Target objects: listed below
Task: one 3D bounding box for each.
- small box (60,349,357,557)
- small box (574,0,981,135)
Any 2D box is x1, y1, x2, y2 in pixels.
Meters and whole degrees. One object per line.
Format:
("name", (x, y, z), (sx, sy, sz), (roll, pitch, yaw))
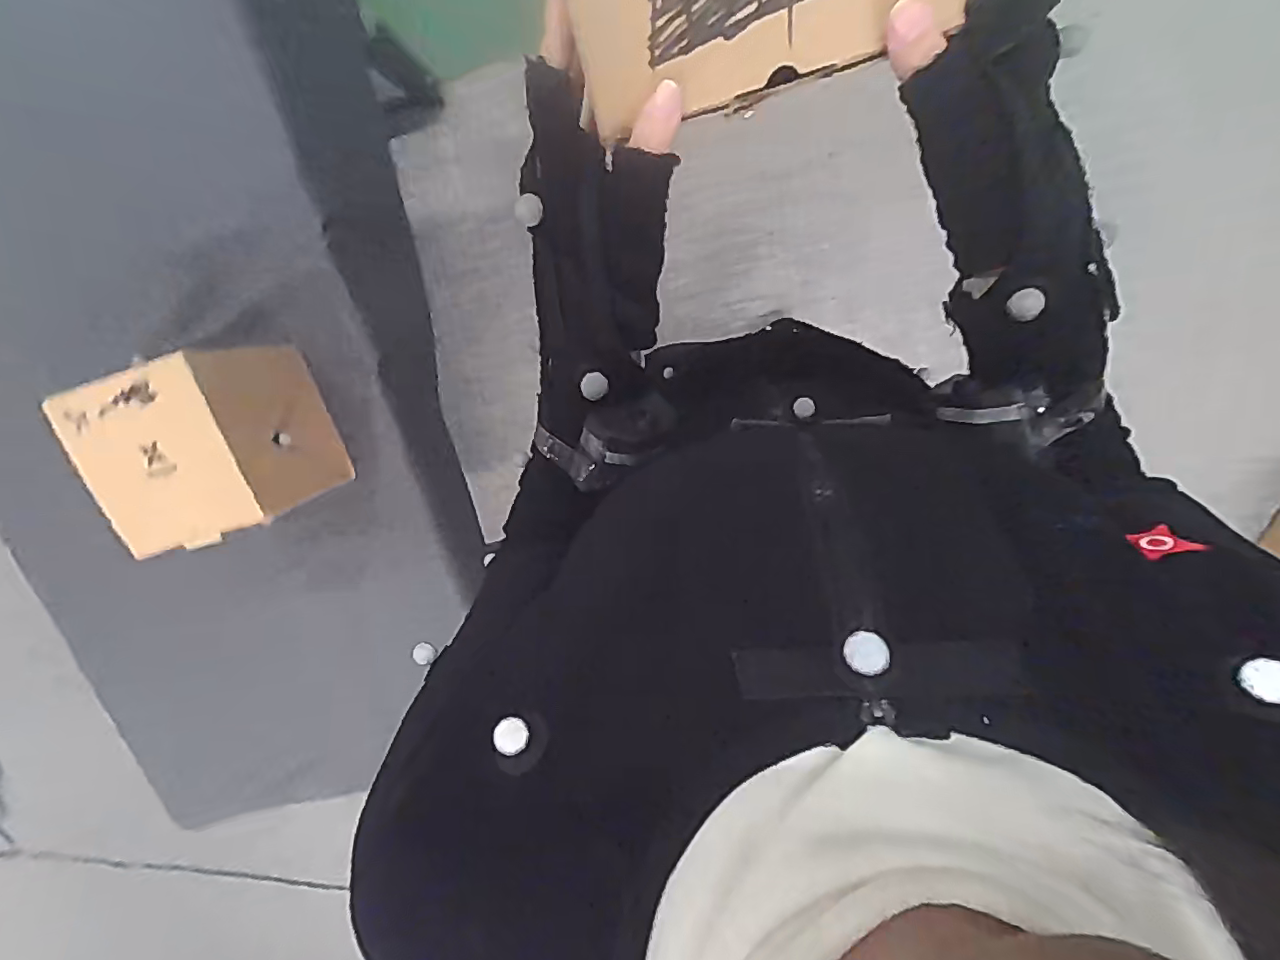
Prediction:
("small box", (-0.473, -0.040, 0.625), (0.168, 0.176, 0.179), (-19, 103, 11))
("small box", (0.043, -0.288, 0.260), (0.168, 0.176, 0.179), (-13, 120, 7))
